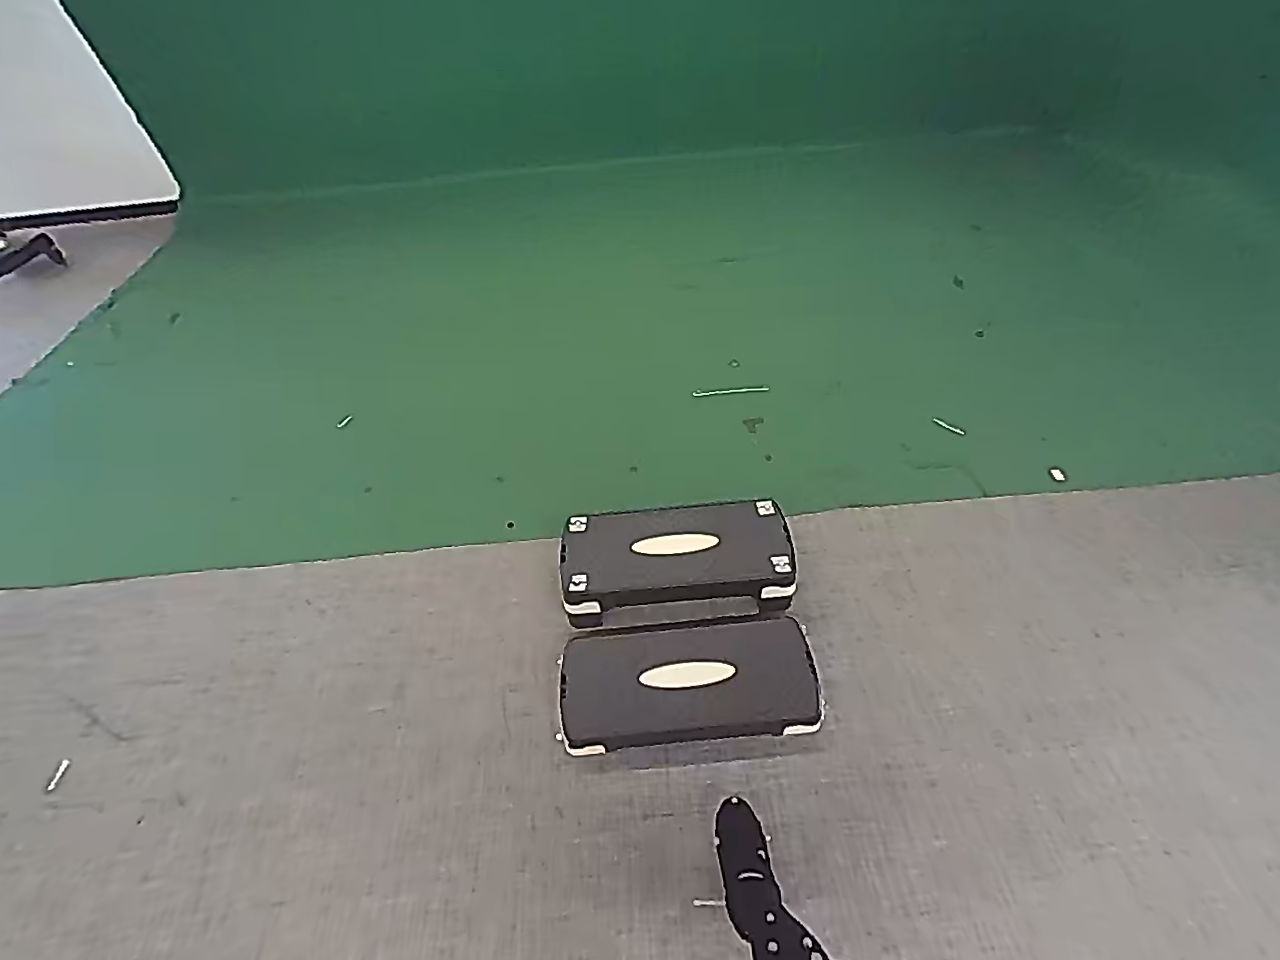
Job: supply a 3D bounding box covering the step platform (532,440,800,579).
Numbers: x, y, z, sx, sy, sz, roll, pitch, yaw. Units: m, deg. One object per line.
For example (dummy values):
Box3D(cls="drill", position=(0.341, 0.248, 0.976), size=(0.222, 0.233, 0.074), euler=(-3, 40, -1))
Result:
Box3D(cls="step platform", position=(0.066, 0.082, 1.470), size=(0.684, 0.204, 0.286), euler=(-6, 50, 1))
